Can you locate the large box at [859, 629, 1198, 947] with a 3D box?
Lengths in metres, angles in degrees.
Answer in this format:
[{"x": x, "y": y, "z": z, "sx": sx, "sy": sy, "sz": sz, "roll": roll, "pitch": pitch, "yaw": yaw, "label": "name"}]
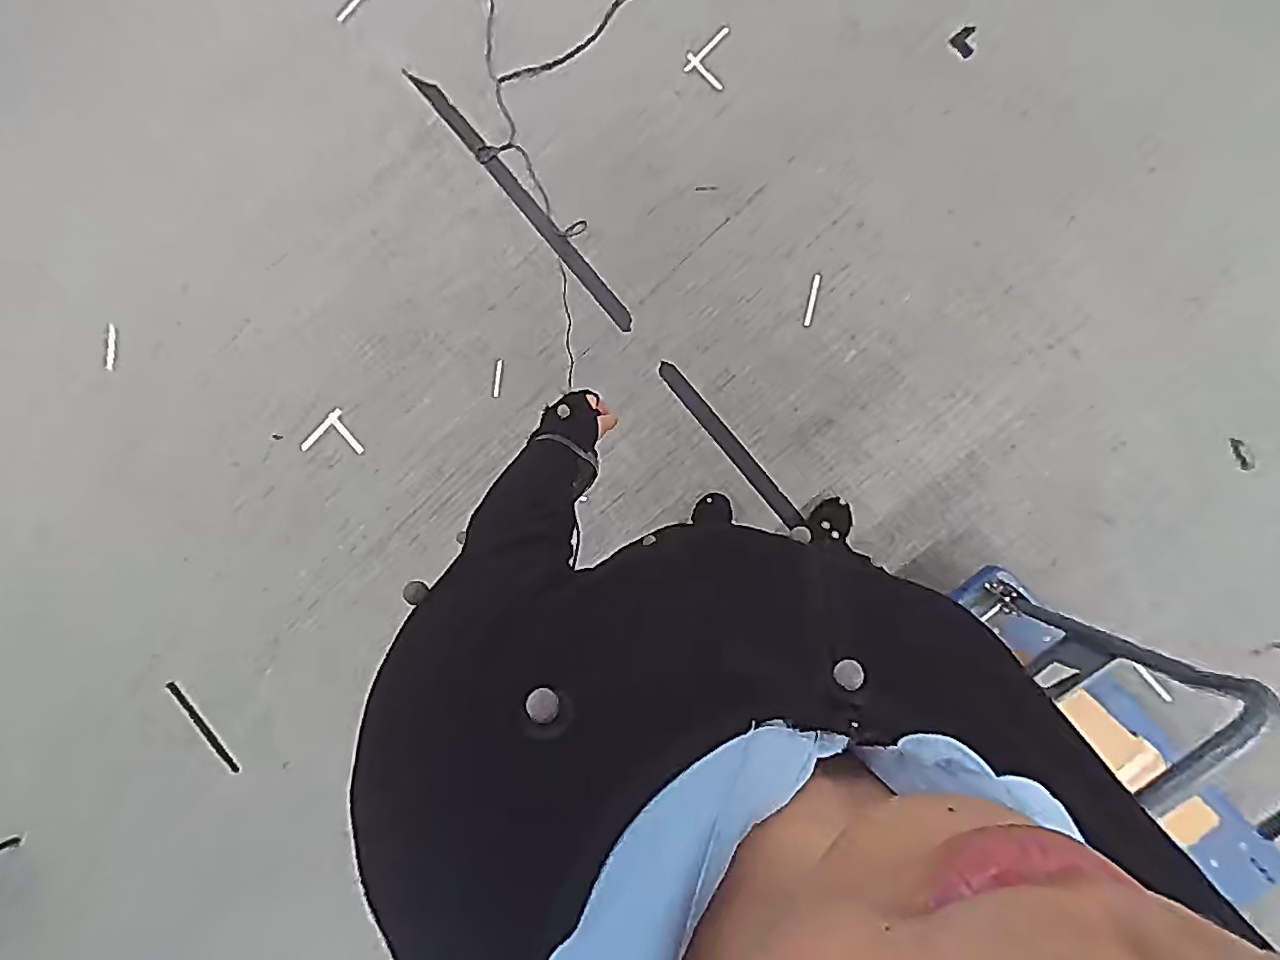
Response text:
[{"x": 0.736, "y": 0.585, "z": 1.103, "sx": 0.320, "sy": 0.320, "sz": 0.408, "roll": 45, "pitch": 97, "yaw": 6, "label": "large box"}]
